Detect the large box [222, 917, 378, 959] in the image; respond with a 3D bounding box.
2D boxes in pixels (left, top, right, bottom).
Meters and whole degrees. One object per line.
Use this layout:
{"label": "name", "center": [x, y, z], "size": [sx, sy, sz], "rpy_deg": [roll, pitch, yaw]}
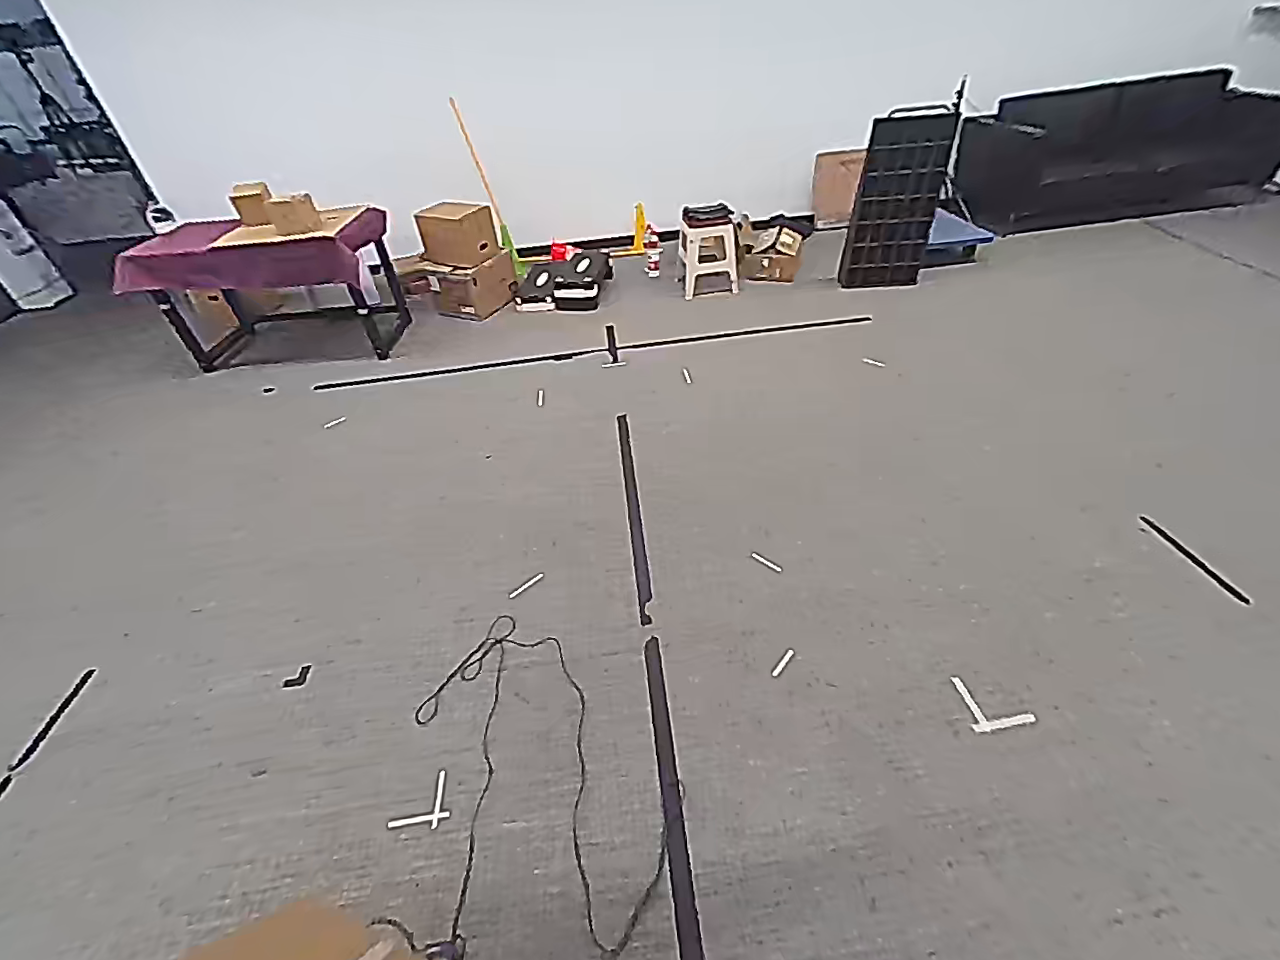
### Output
{"label": "large box", "center": [-0.438, 0.767, 0.573], "size": [0.320, 0.408, 0.320], "rpy_deg": [21, 65, 7]}
